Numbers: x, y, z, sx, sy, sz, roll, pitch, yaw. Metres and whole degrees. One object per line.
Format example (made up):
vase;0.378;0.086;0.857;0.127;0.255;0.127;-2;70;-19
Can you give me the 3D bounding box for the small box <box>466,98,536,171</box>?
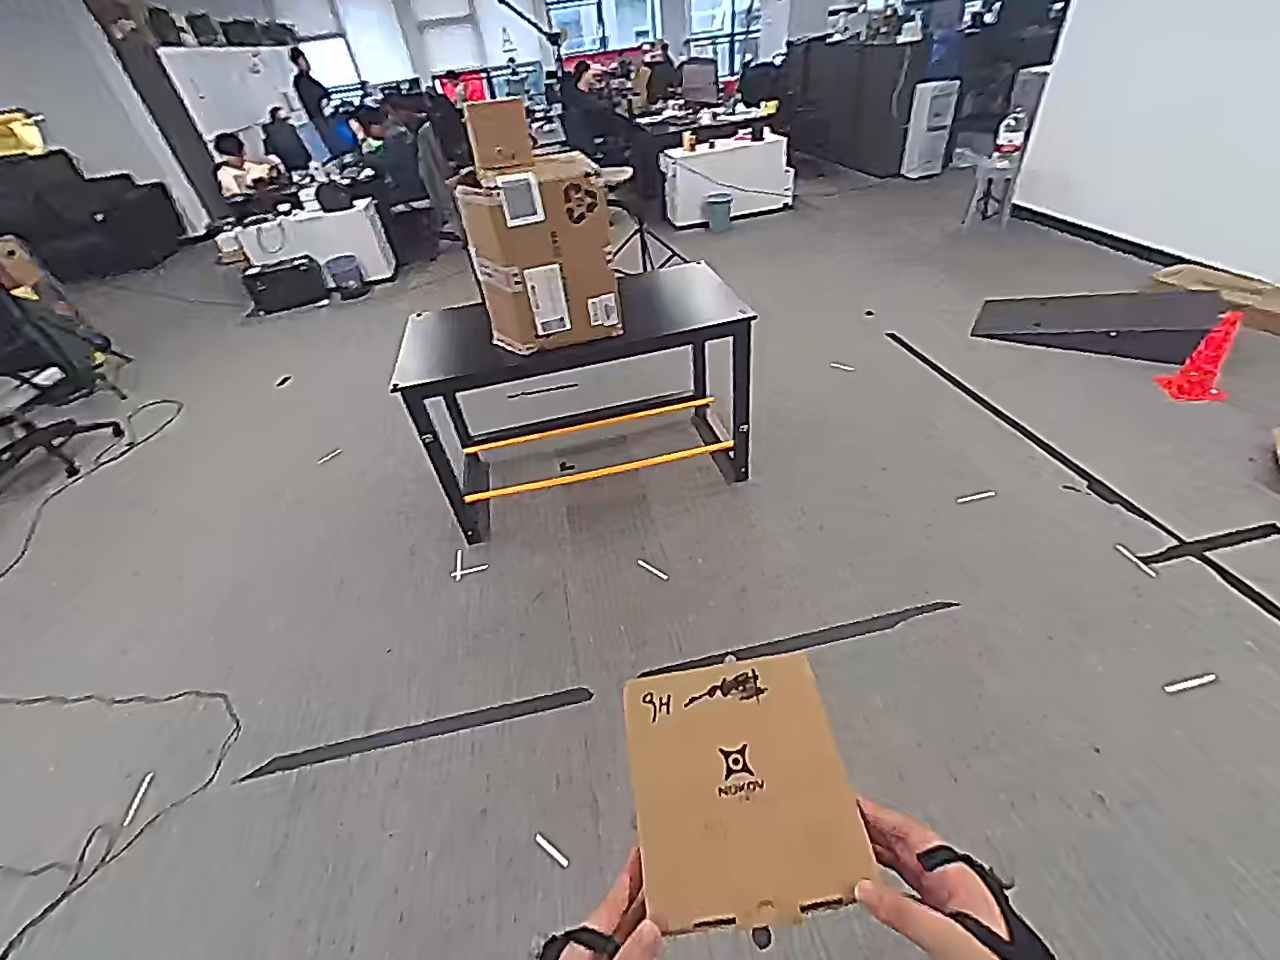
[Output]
small box;-0.425;-1.056;1.651;0.168;0.176;0.179;-16;39;-11
